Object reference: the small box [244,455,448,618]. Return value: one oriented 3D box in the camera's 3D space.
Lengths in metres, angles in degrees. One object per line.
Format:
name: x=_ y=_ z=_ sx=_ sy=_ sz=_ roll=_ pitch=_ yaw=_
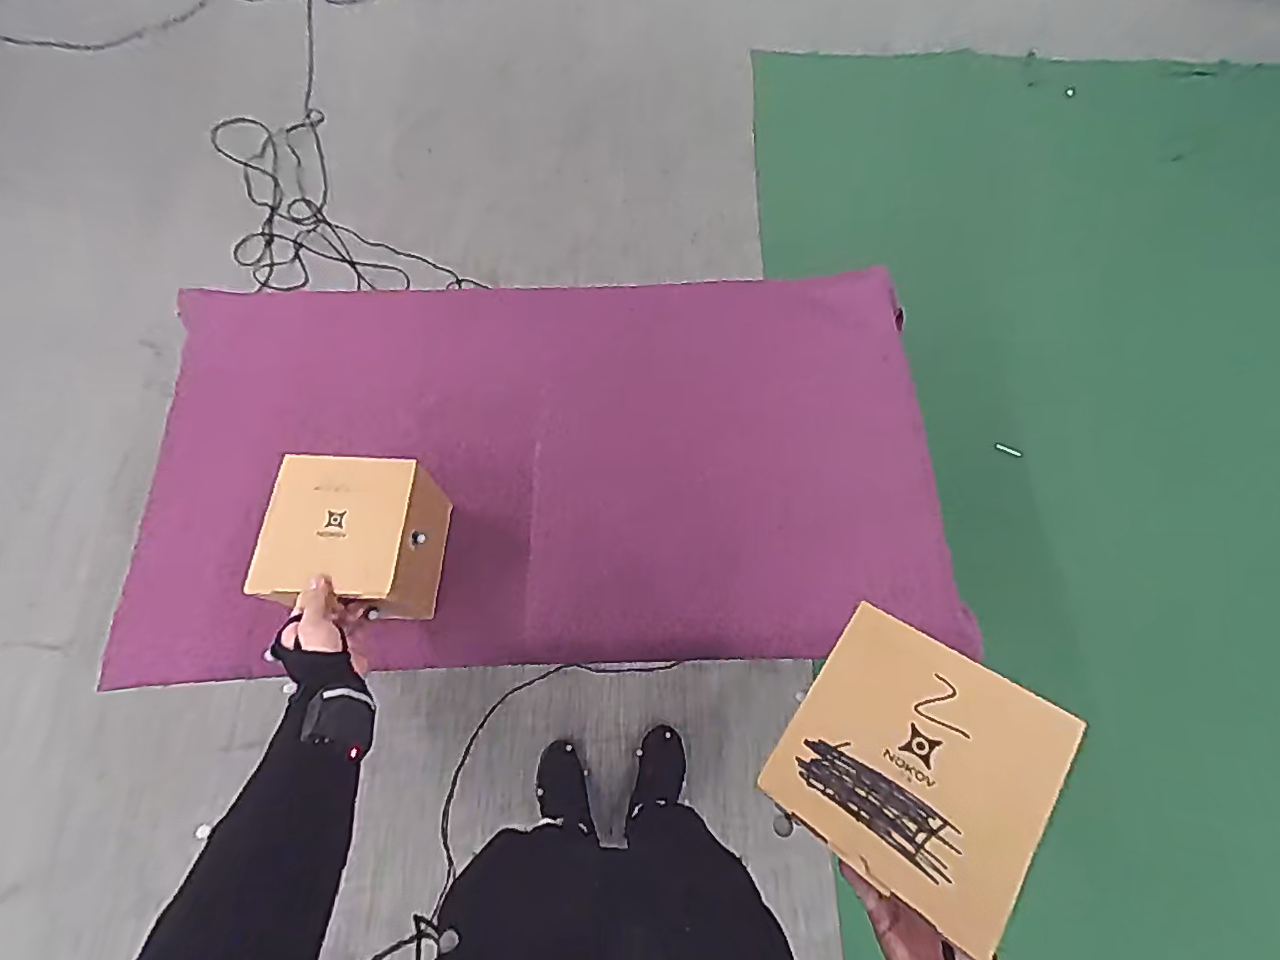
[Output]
small box: x=-0.371 y=0.084 z=0.723 sx=0.168 sy=0.176 sz=0.179 roll=3 pitch=66 yaw=-2
